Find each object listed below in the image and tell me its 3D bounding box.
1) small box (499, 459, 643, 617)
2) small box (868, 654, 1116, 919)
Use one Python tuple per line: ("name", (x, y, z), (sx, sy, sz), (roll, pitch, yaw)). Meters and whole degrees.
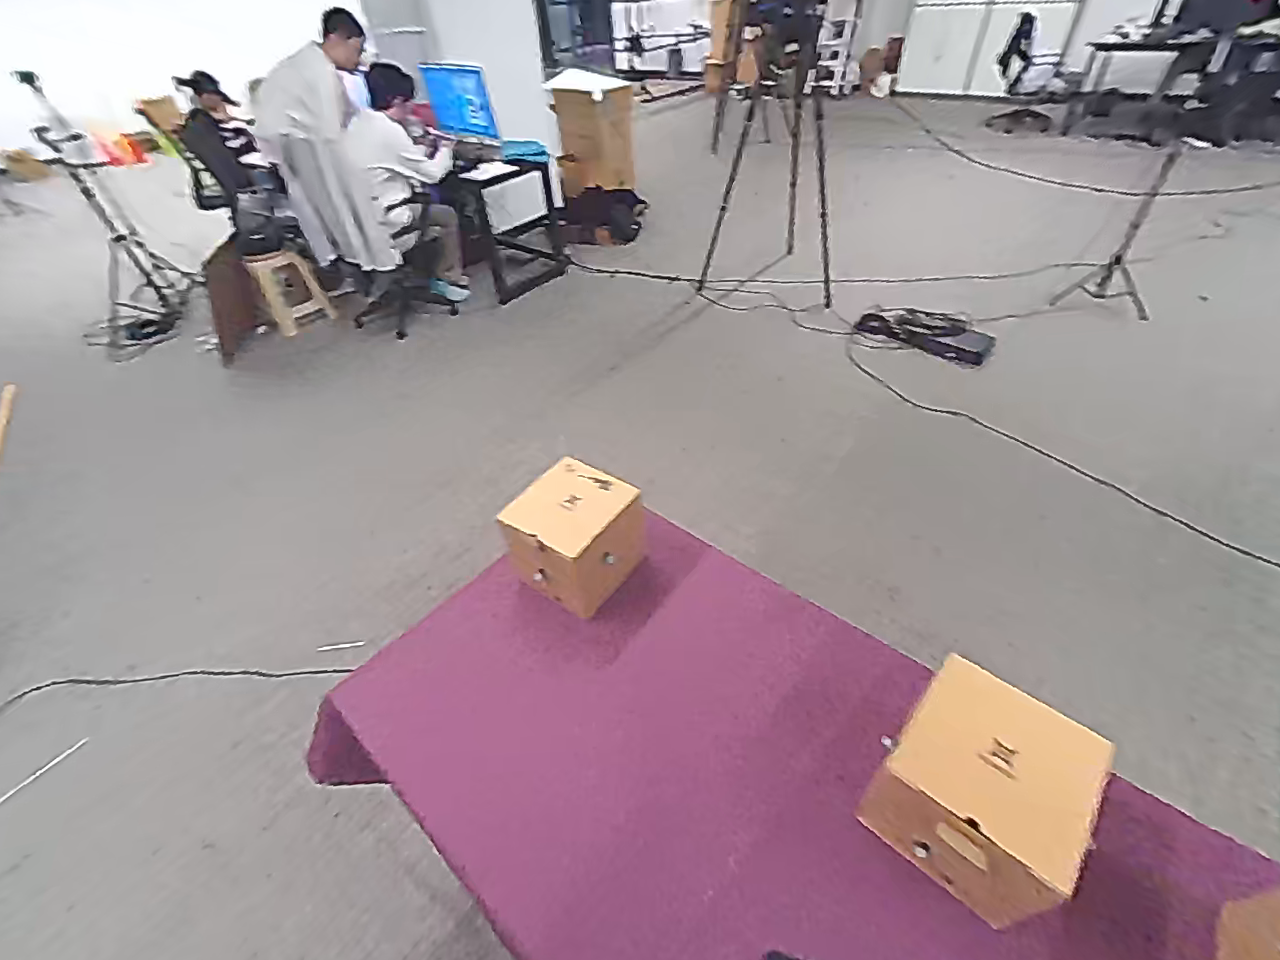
("small box", (-0.106, 0.100, 0.926), (0.168, 0.176, 0.179), (25, 52, 27))
("small box", (0.383, 0.344, 0.614), (0.168, 0.176, 0.179), (30, 54, 32))
